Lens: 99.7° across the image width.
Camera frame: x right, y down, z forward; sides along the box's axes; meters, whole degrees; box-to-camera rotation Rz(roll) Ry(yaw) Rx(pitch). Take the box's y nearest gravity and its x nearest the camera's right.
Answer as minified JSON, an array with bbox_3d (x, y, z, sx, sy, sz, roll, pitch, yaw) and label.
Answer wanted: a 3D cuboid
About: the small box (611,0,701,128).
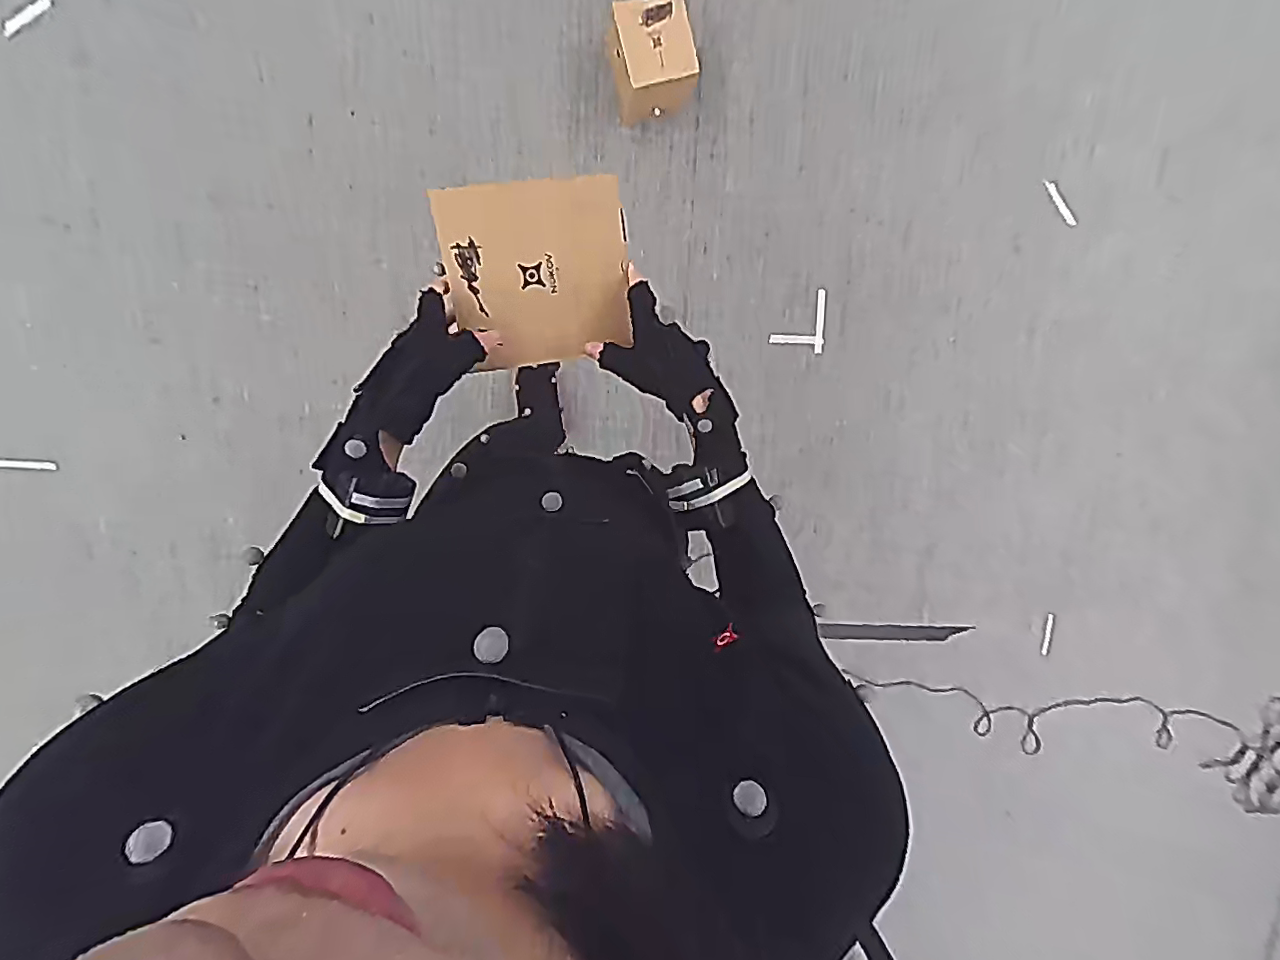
[{"bbox_3d":[0.032,-0.992,1.298,0.168,0.176,0.179,-17,100,-4],"label":"small box"}]

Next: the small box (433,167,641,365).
[{"bbox_3d":[-0.107,-0.220,0.583,0.179,0.176,0.168,-9,106,-9],"label":"small box"}]
